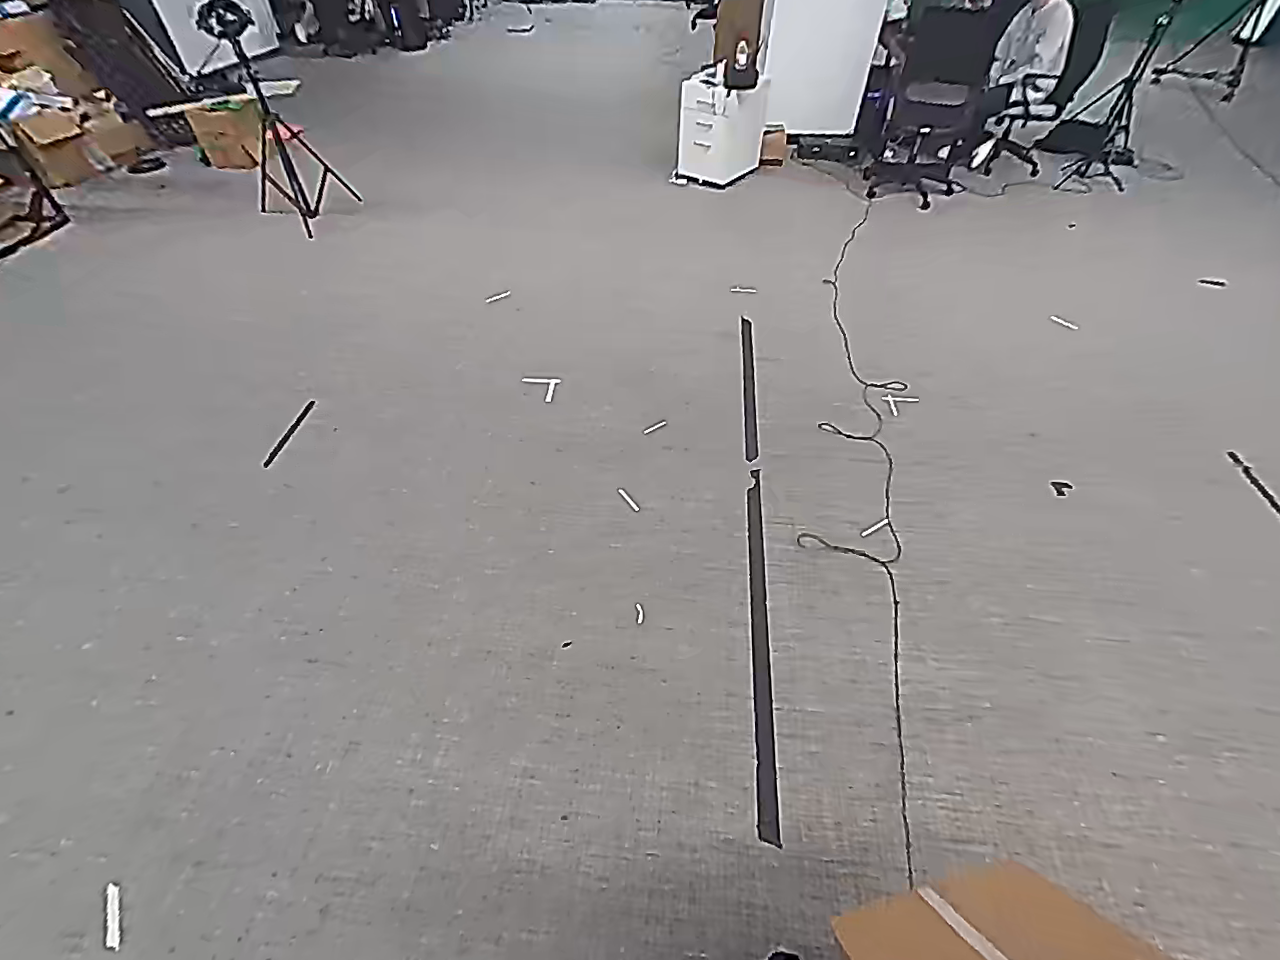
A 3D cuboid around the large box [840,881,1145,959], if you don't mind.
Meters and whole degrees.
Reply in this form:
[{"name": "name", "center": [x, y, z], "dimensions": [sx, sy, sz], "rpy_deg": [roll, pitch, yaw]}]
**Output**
[{"name": "large box", "center": [0.478, 0.739, 0.600], "dimensions": [0.320, 0.408, 0.320], "rpy_deg": [-15, 74, -2]}]
